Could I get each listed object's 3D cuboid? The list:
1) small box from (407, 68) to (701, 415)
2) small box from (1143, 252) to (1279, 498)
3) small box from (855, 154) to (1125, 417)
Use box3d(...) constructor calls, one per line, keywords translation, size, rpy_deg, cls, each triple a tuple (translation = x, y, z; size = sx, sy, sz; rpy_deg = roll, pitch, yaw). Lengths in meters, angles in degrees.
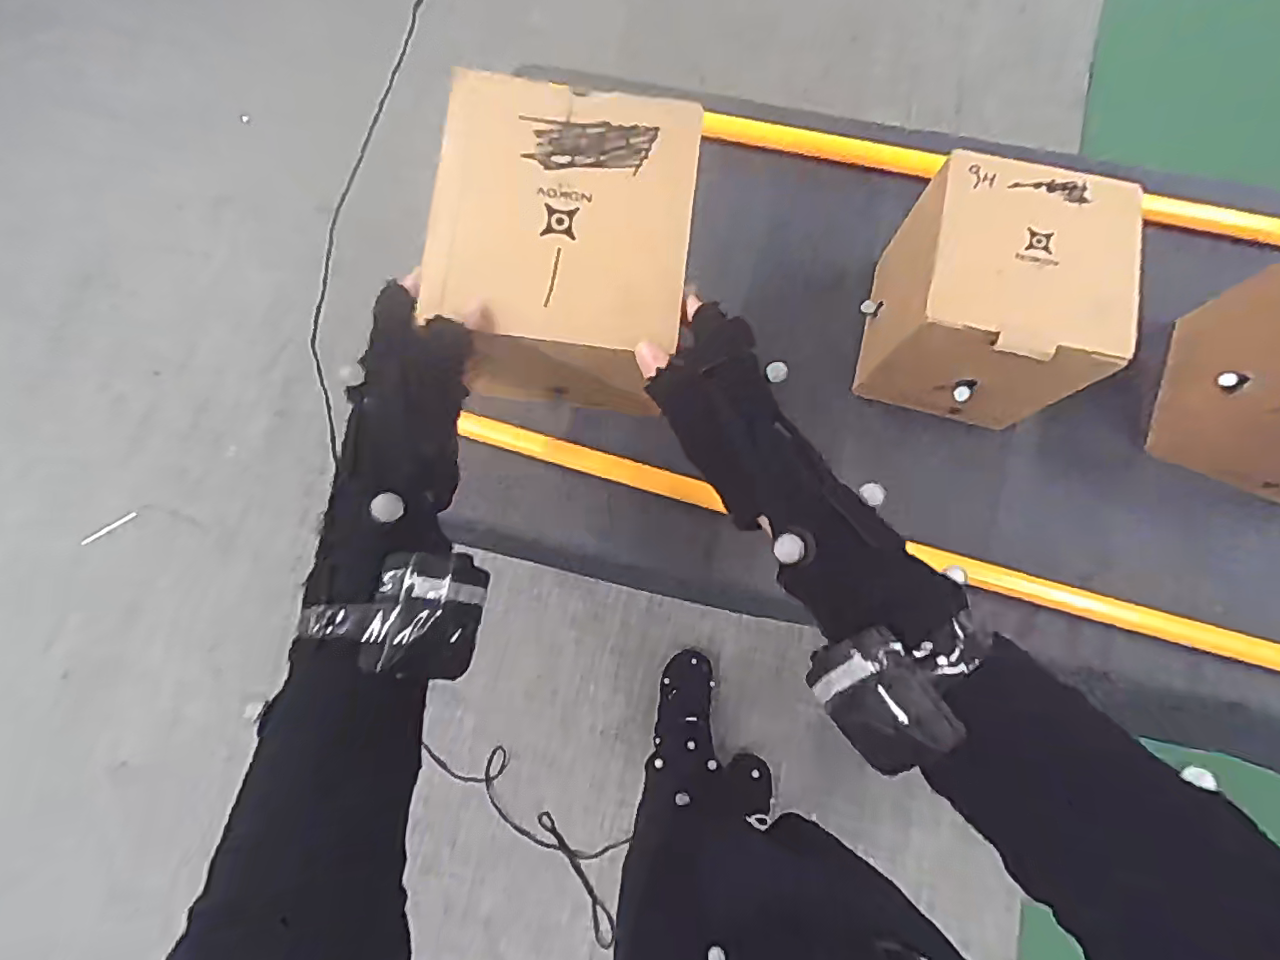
box3d(translation=(-0.055, -0.160, 0.418), size=(0.168, 0.176, 0.179), rpy_deg=(7, 86, -1), cls="small box")
box3d(translation=(0.640, -0.099, 0.513), size=(0.168, 0.176, 0.179), rpy_deg=(23, 77, 5), cls="small box")
box3d(translation=(0.329, -0.179, 0.540), size=(0.168, 0.176, 0.179), rpy_deg=(11, 77, 5), cls="small box")
